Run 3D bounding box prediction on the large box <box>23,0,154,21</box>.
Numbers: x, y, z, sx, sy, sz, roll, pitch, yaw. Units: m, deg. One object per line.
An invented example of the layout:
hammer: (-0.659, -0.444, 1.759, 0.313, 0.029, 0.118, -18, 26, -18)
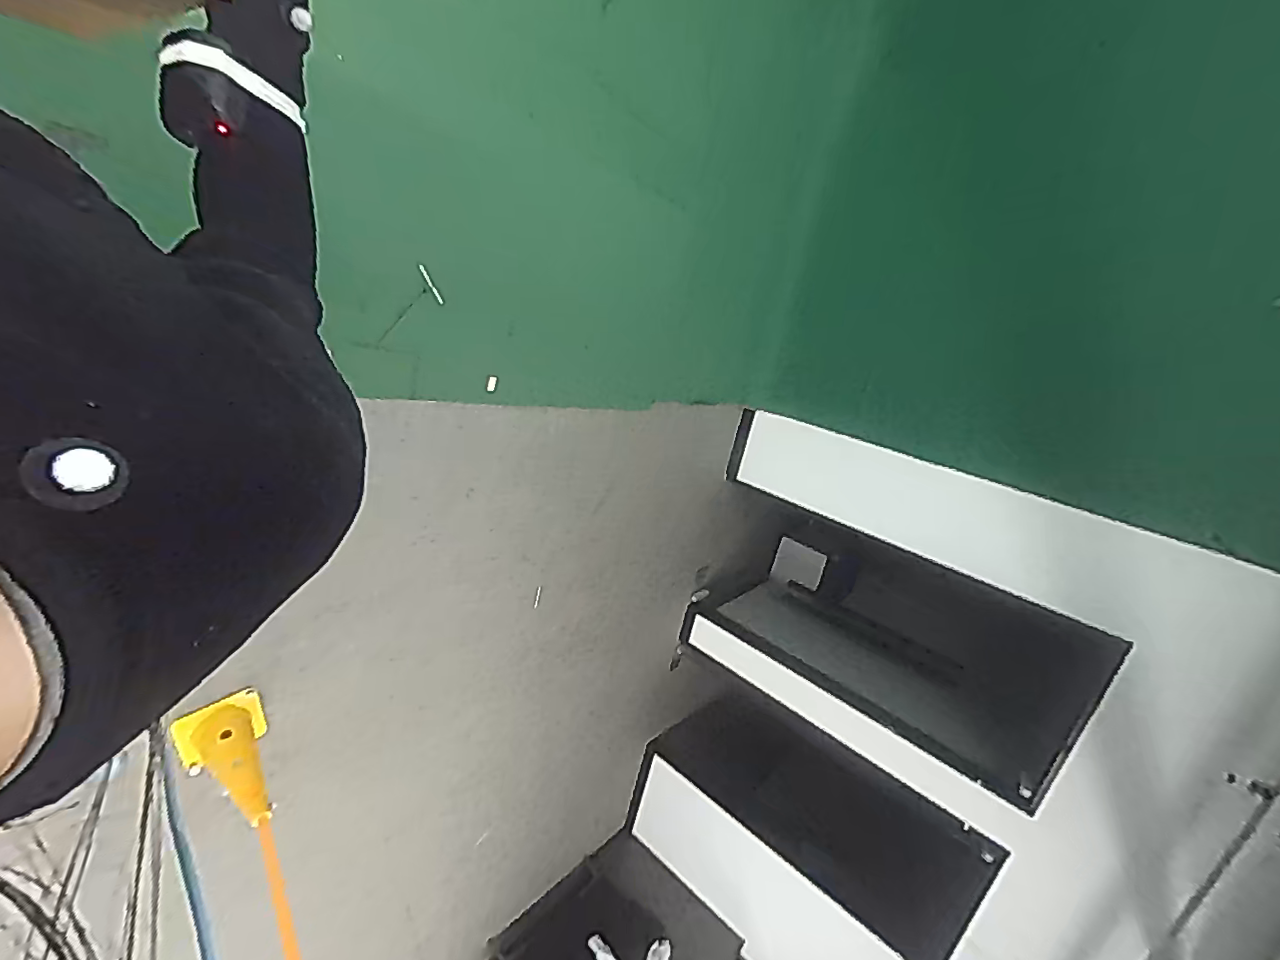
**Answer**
large box: (-0.516, -0.507, 0.260, 0.408, 0.320, 0.320, -18, 122, -52)
